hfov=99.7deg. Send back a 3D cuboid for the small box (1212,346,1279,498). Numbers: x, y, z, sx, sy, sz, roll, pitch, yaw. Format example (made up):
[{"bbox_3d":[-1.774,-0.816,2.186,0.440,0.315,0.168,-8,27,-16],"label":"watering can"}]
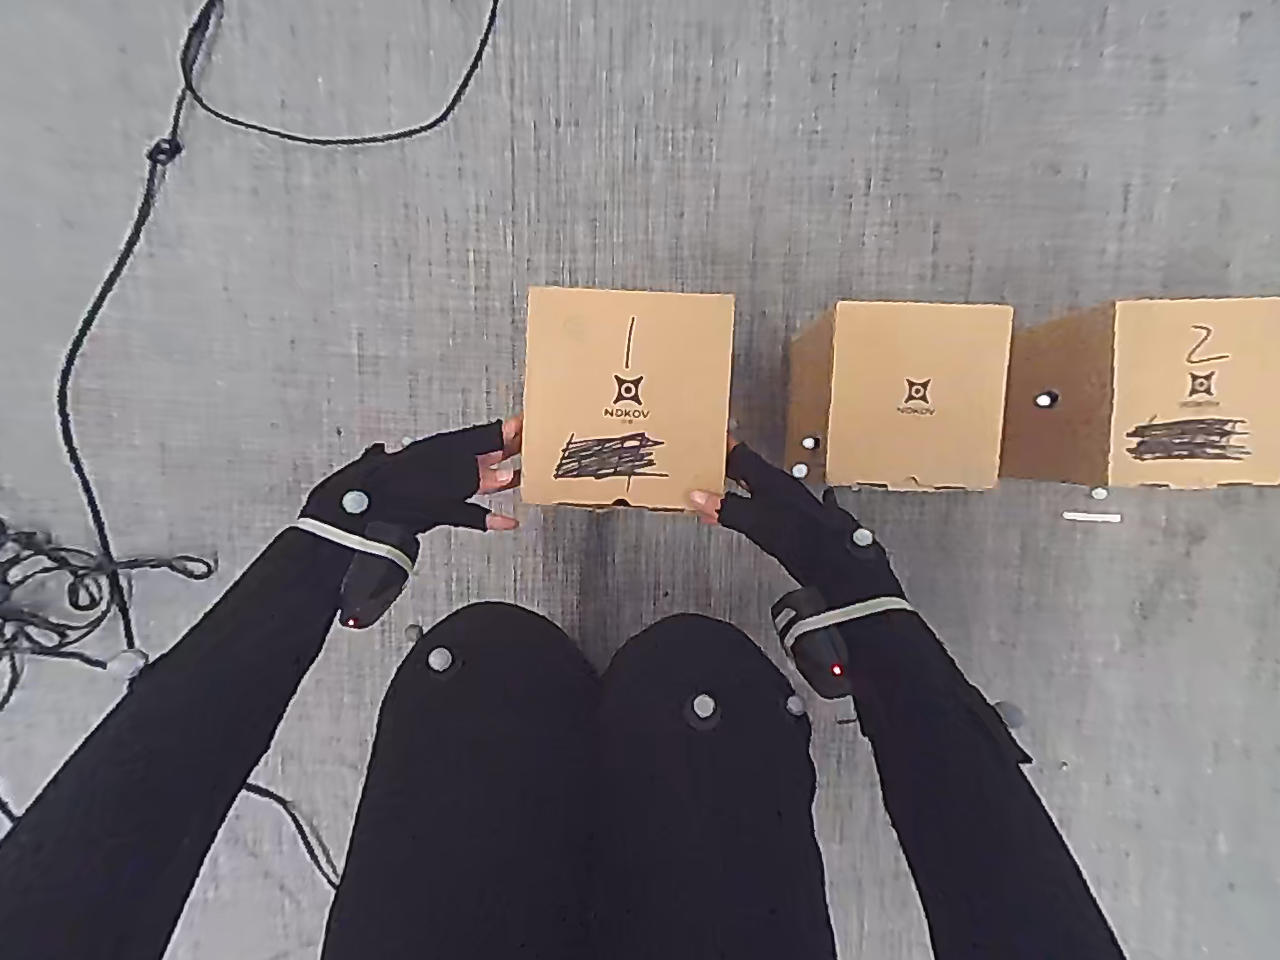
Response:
[{"bbox_3d":[0.792,-0.063,0.589,0.168,0.176,0.179,2,95,2],"label":"small box"}]

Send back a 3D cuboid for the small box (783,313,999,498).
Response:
[{"bbox_3d":[0.262,-0.076,0.604,0.168,0.176,0.179,2,94,2],"label":"small box"}]

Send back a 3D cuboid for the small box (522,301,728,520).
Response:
[{"bbox_3d":[-0.011,-0.061,0.529,0.168,0.176,0.179,3,92,1],"label":"small box"}]
